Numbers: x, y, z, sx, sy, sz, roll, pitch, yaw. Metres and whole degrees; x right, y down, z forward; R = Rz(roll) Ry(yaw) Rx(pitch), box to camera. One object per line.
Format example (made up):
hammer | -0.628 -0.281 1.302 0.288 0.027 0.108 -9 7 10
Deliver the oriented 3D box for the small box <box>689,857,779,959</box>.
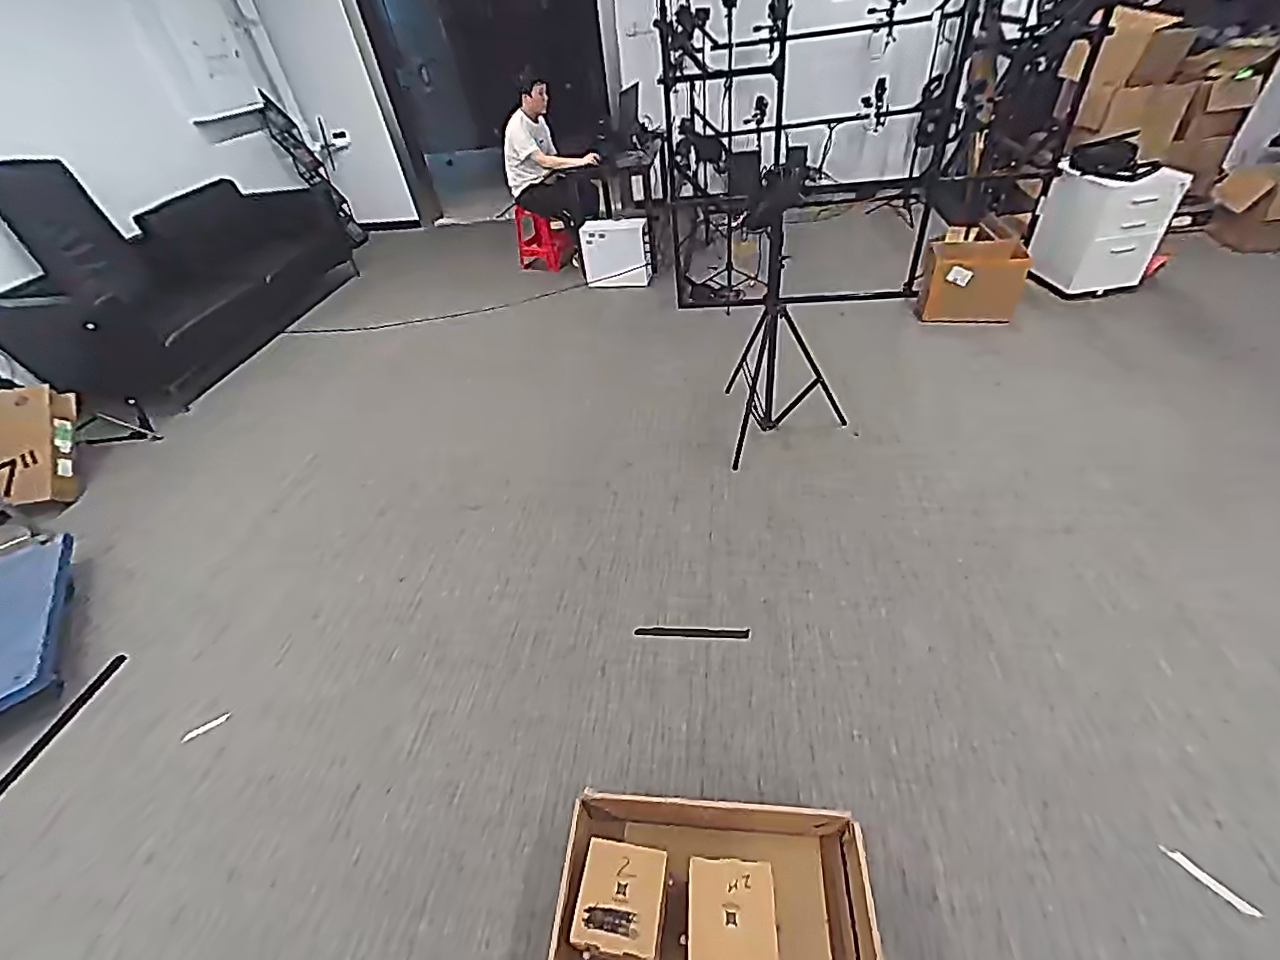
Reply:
small box | 0.188 0.884 1.081 0.168 0.176 0.179 -1 42 8
